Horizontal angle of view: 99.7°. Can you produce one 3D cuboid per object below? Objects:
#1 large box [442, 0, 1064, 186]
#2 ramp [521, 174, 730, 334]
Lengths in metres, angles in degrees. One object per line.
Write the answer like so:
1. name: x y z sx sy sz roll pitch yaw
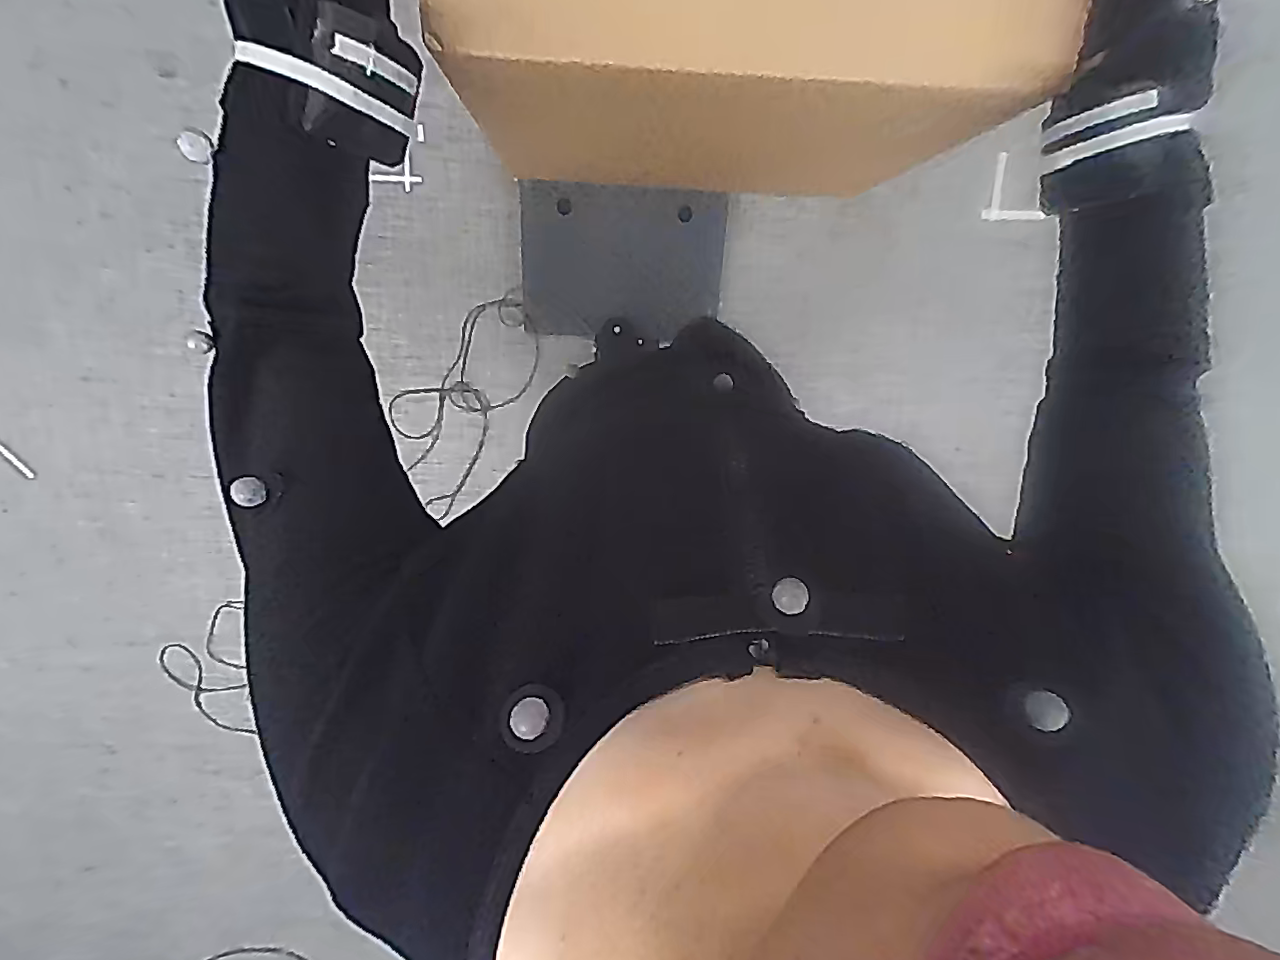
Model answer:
1. large box: 0.066 -0.454 0.447 0.408 0.320 0.320 1 107 -4
2. ramp: -0.022 -0.841 1.203 0.509 0.206 0.991 -1 103 -5
